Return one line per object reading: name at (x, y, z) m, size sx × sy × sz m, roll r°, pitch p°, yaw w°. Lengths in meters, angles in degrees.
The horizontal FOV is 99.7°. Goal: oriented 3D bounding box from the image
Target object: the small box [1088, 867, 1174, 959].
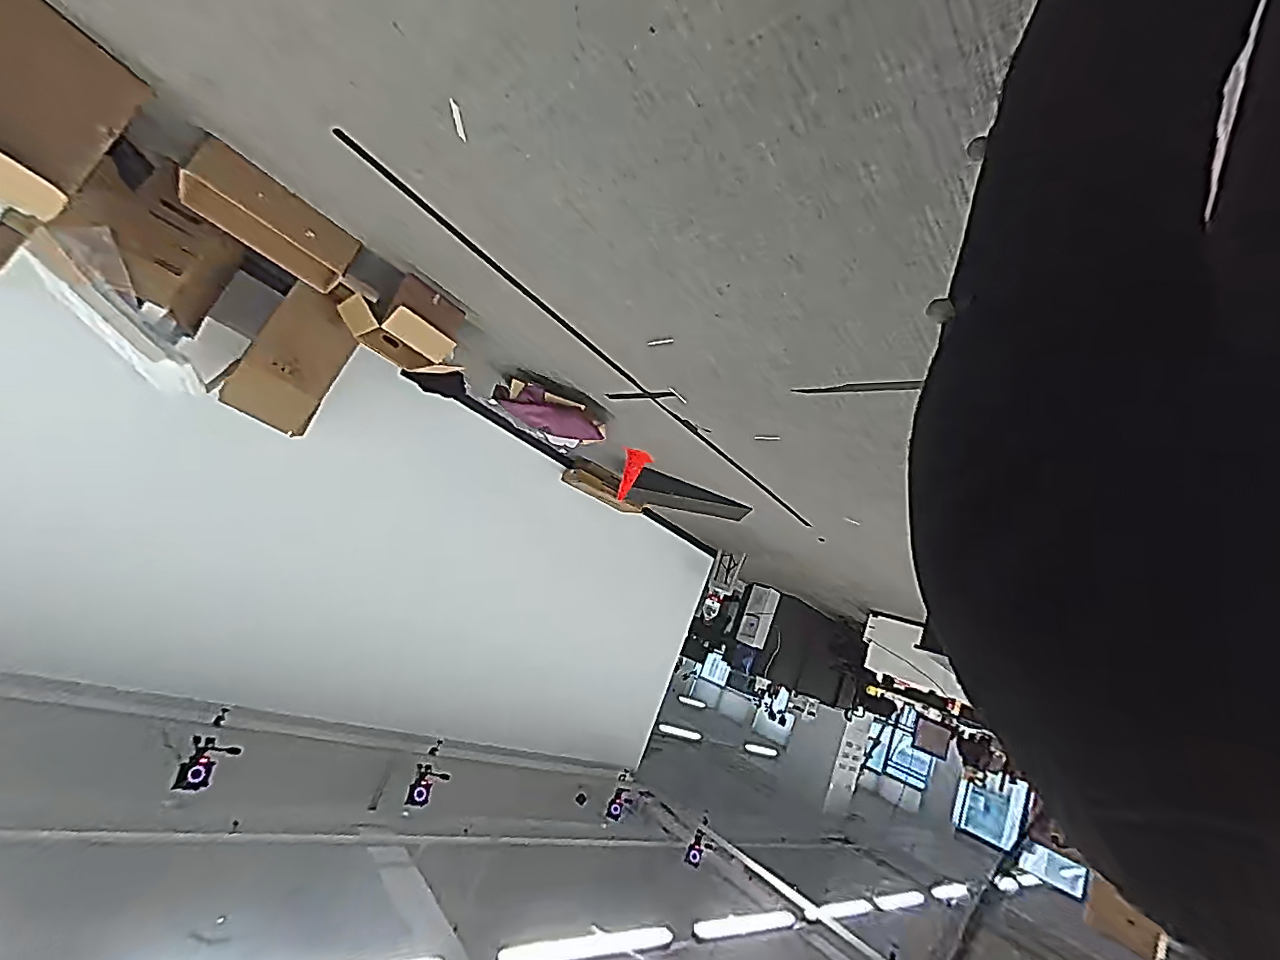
small box at (1.561, 1.371, 1.714) m, size 0.168 × 0.176 × 0.179 m, roll 29°, pitch 166°, yaw -35°
